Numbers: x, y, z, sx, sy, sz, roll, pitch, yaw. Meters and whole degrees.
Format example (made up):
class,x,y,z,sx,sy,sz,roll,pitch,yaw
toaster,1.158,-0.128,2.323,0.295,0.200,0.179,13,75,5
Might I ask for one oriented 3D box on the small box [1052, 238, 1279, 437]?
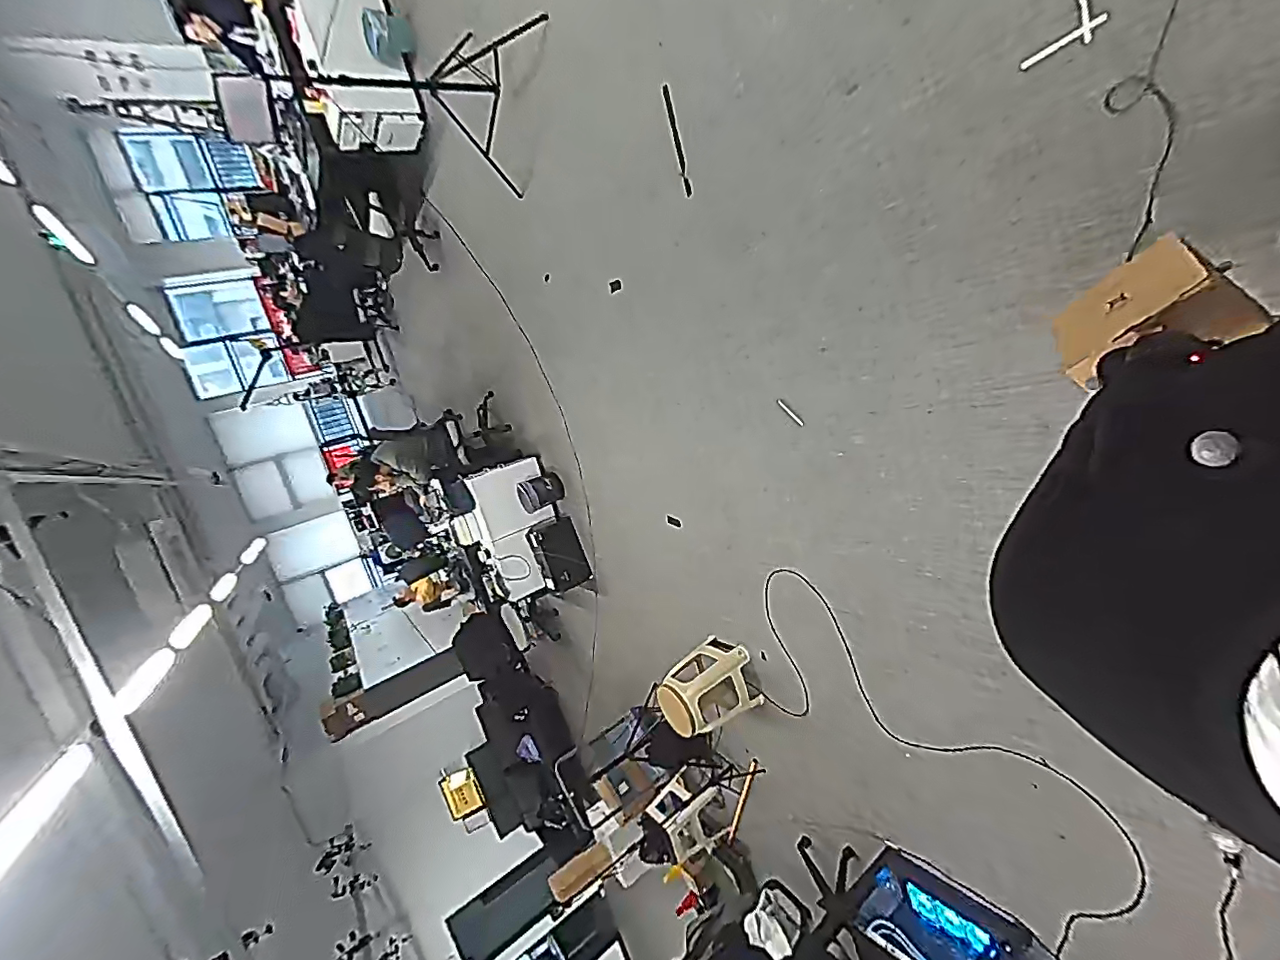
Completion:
class,x,y,z,sx,sy,sz,roll,pitch,yaw
small box,0.707,-0.183,0.730,0.176,0.179,0.168,39,137,-3
